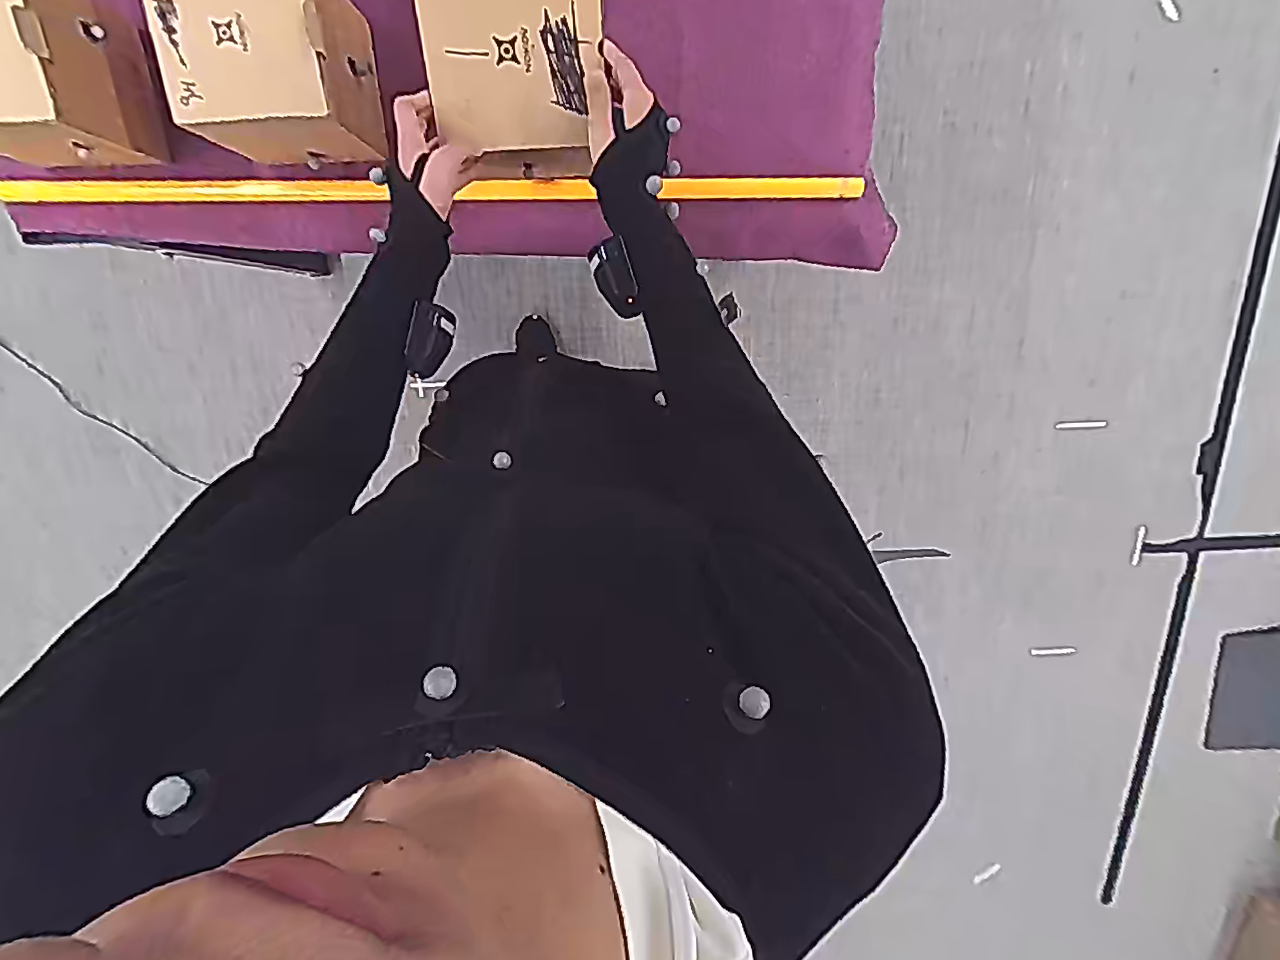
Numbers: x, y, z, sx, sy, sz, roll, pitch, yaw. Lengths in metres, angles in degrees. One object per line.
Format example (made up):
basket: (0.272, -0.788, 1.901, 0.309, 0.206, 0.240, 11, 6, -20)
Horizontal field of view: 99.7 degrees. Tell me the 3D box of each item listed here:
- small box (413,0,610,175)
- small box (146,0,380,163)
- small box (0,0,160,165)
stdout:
small box: (-0.128, -0.442, 0.591, 0.179, 0.176, 0.168, -5, 111, -3)
small box: (-0.439, -0.503, 0.661, 0.179, 0.176, 0.168, -3, 106, -2)
small box: (-0.734, -0.495, 0.651, 0.179, 0.176, 0.168, -3, 105, -3)
